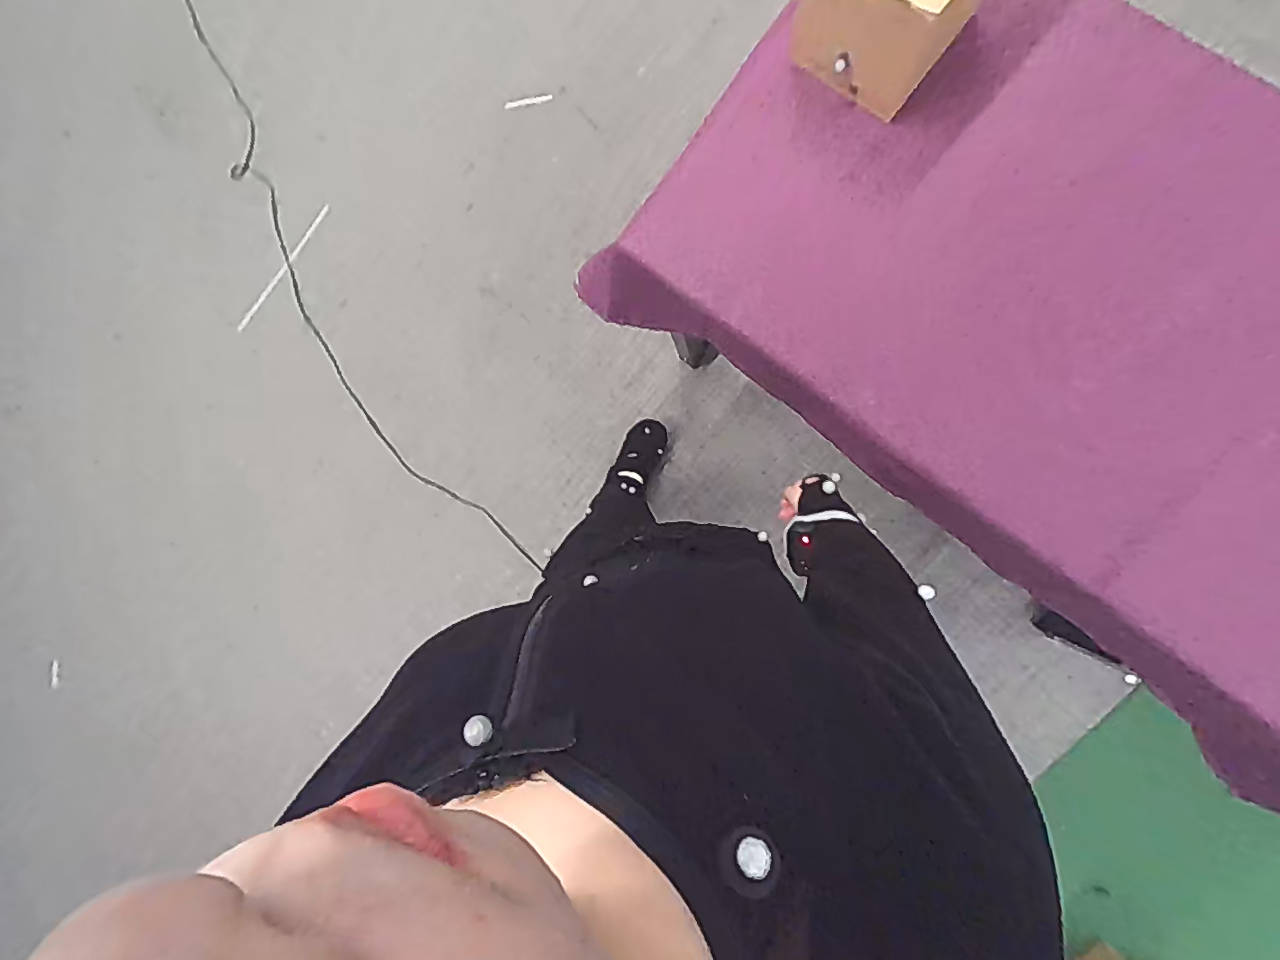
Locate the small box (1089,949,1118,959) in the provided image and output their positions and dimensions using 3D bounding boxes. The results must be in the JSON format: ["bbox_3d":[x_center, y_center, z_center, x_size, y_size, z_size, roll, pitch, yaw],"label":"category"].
[{"bbox_3d":[1.106,1.243,1.225,0.168,0.176,0.179,44,95,7],"label":"small box"}]

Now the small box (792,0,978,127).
[{"bbox_3d":[0.301,-0.581,0.642,0.168,0.176,0.179,39,95,8],"label":"small box"}]
